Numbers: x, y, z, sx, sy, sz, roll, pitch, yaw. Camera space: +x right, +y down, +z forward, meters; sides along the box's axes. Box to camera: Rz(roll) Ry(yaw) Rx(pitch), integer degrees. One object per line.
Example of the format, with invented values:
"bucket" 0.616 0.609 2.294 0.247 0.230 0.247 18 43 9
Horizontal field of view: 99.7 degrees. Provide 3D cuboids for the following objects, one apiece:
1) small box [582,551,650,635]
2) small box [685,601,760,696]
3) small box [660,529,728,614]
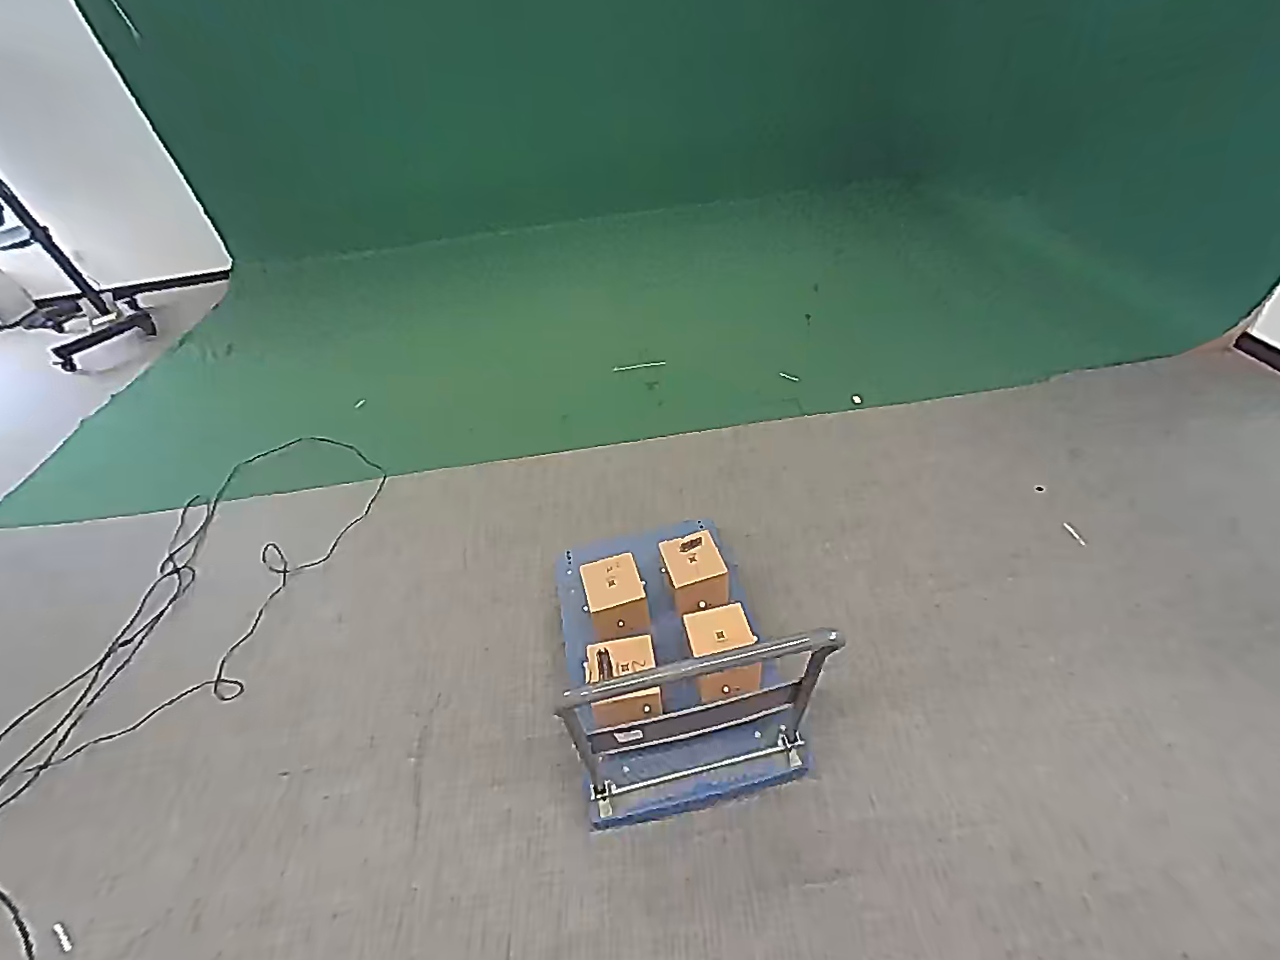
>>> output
"small box" -0.072 0.355 1.667 0.168 0.176 0.179 -14 44 -7
"small box" 0.225 0.470 1.505 0.168 0.176 0.179 -12 44 -4
"small box" 0.169 0.288 1.698 0.168 0.176 0.179 -16 46 -6
